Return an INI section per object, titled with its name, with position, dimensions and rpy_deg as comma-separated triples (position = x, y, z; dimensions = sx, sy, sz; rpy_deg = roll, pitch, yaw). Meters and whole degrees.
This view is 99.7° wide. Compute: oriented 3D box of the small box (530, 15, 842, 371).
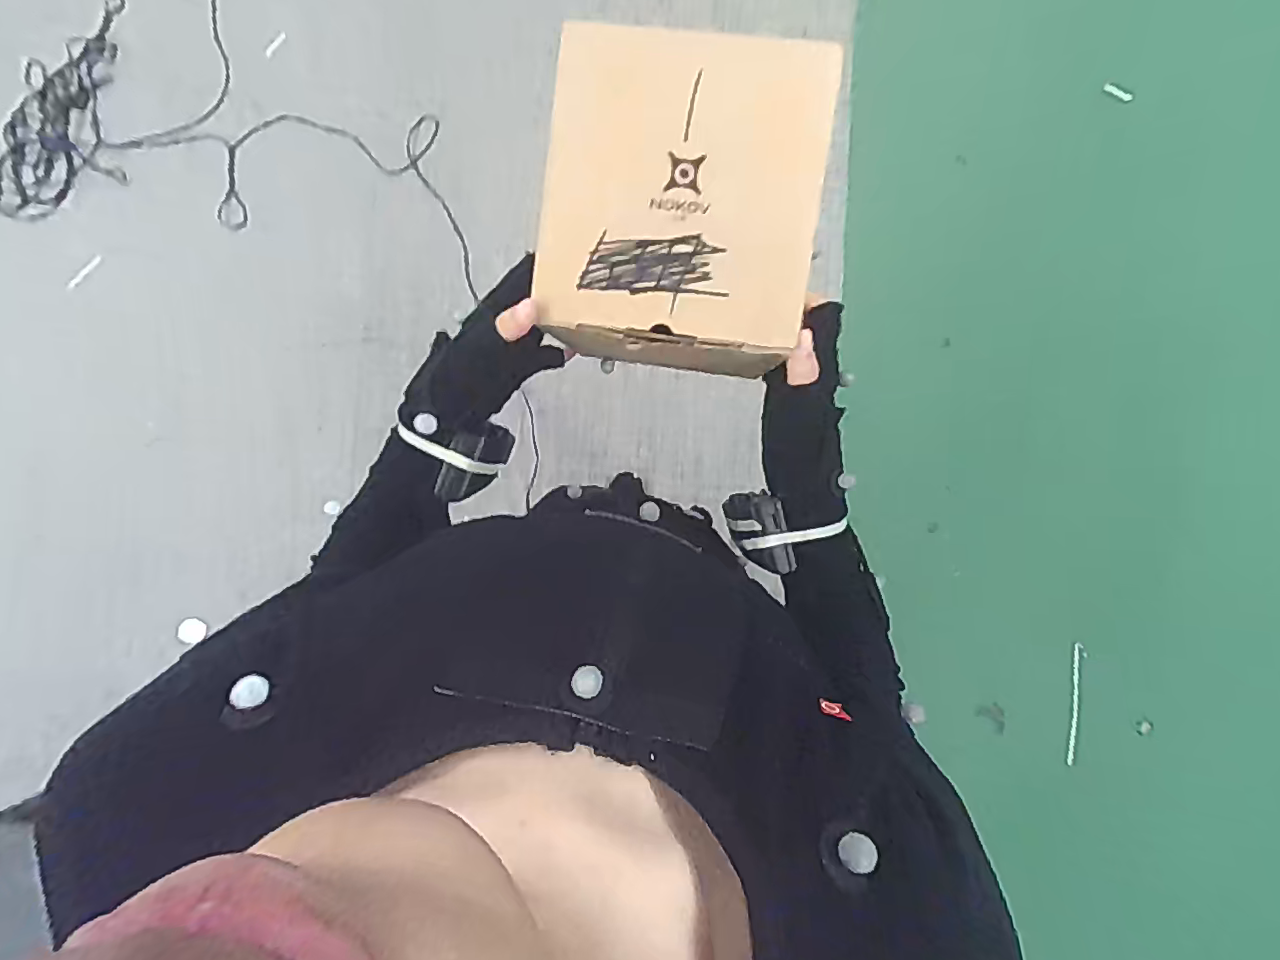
[small box]
position = 0.030, -0.182, 0.399
dimensions = 0.168, 0.176, 0.179
rpy_deg = 8, 95, 3
